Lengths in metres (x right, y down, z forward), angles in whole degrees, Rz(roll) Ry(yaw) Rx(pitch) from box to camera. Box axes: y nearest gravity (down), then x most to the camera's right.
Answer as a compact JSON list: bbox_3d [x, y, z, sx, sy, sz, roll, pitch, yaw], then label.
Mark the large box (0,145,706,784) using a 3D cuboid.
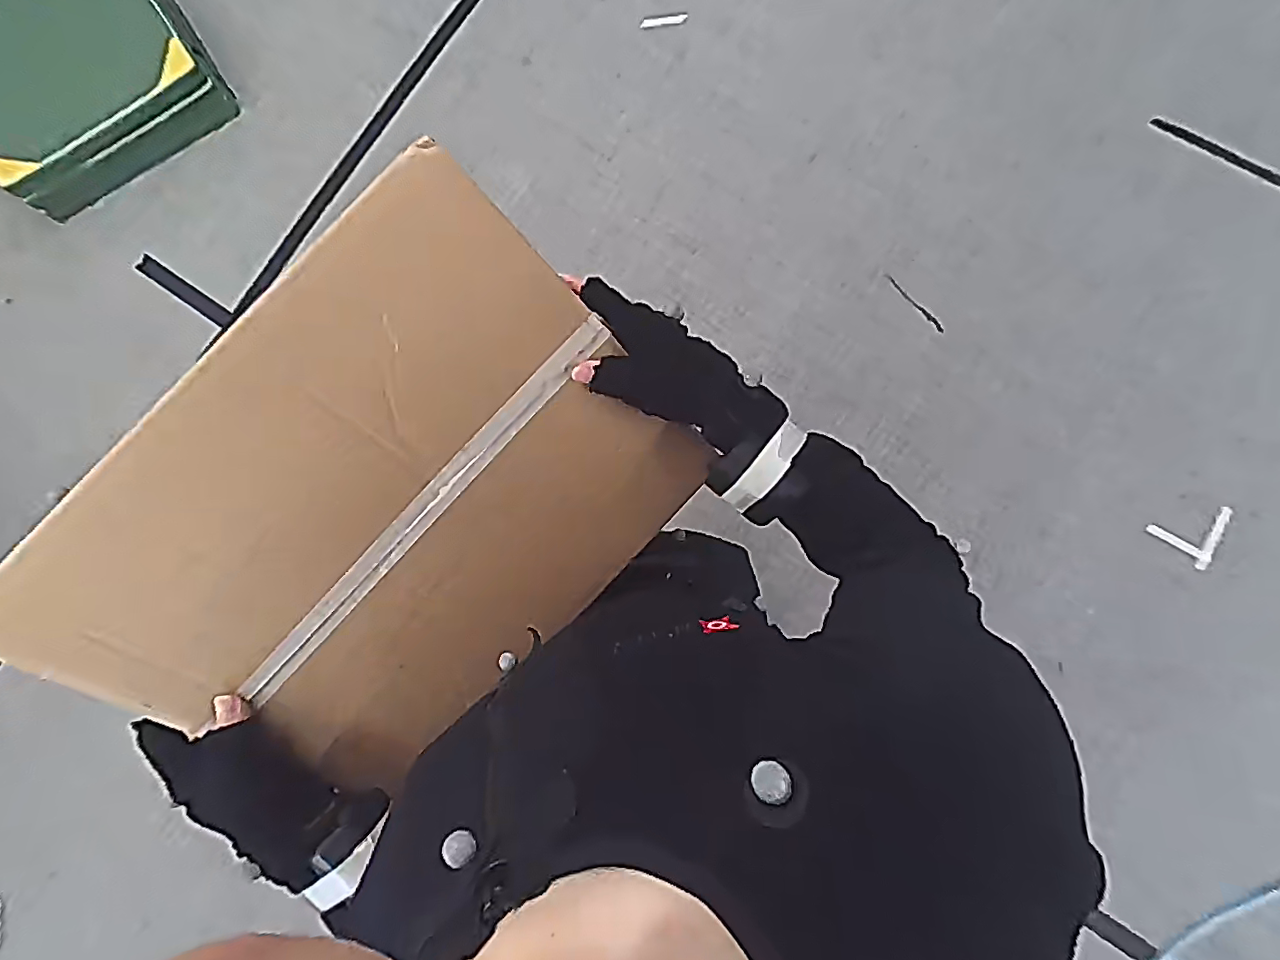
[{"bbox_3d":[-0.222,-0.016,0.534,0.408,0.320,0.320,-47,118,-1],"label":"large box"}]
